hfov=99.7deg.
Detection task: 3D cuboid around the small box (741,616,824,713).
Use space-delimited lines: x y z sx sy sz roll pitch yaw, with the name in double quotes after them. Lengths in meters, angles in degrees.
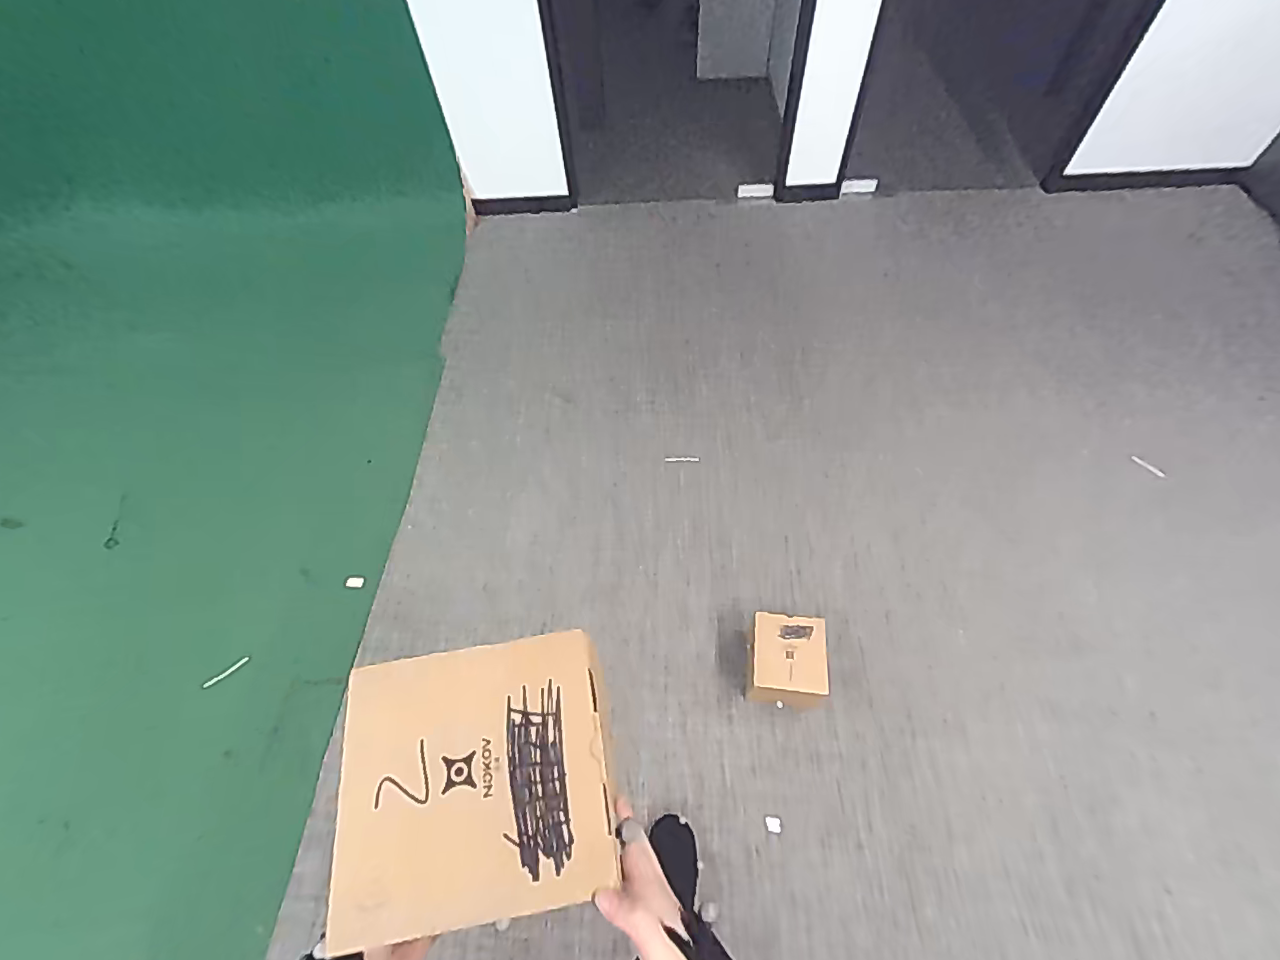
0.338 0.448 1.306 0.168 0.176 0.179 5 59 6 "small box"
